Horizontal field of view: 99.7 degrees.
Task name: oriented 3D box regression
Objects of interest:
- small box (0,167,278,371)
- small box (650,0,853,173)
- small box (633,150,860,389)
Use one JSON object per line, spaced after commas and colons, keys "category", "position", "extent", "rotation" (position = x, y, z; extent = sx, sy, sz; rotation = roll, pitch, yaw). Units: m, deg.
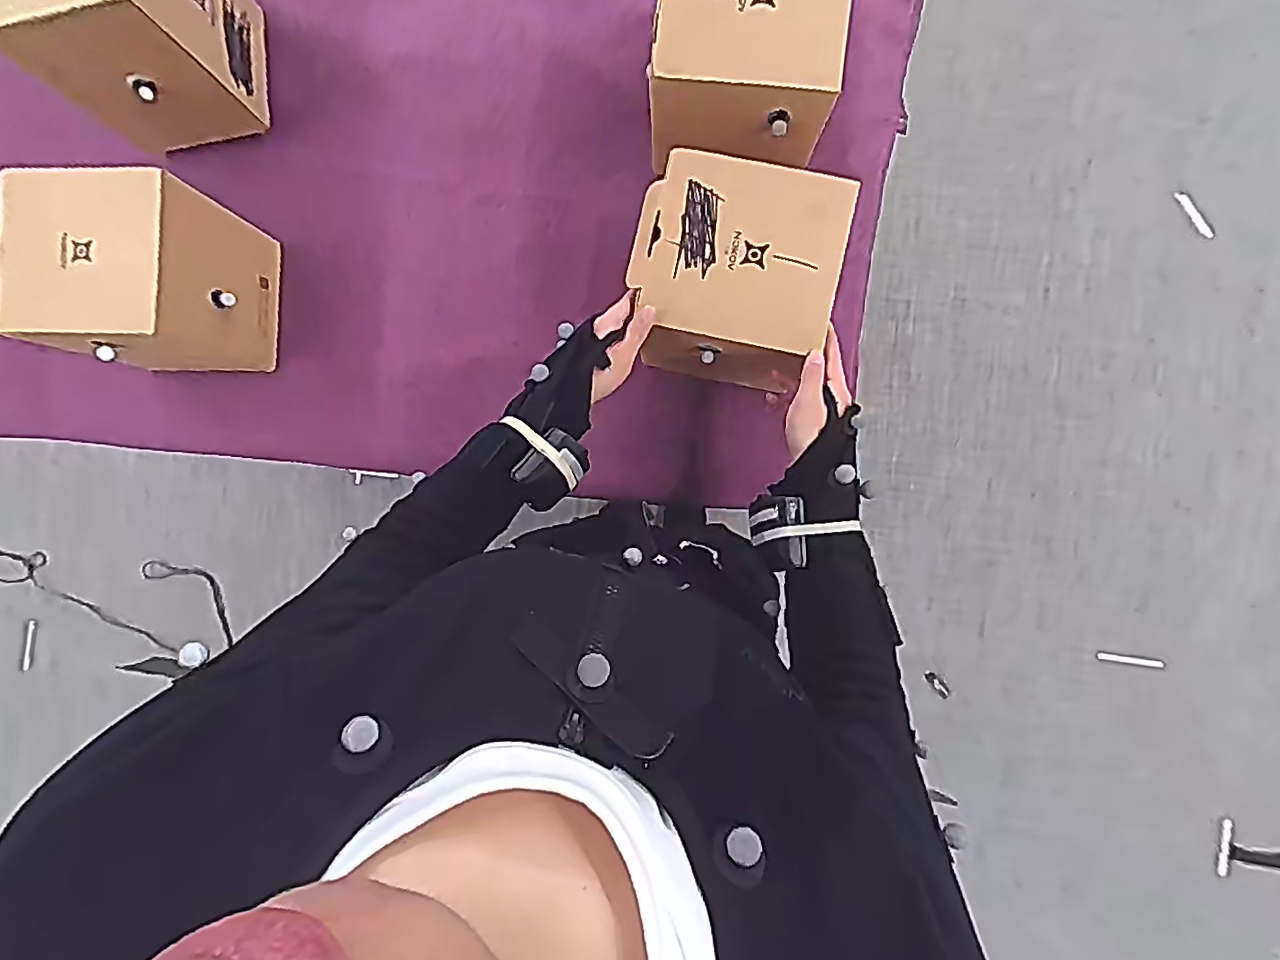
{"category": "small box", "position": [-0.544, -0.222, 0.607], "extent": [0.179, 0.176, 0.168], "rotation": [1, 89, 4]}
{"category": "small box", "position": [0.109, -0.438, 0.567], "extent": [0.179, 0.176, 0.168], "rotation": [7, 91, 3]}
{"category": "small box", "position": [0.100, -0.202, 0.567], "extent": [0.179, 0.176, 0.168], "rotation": [13, 90, 3]}
